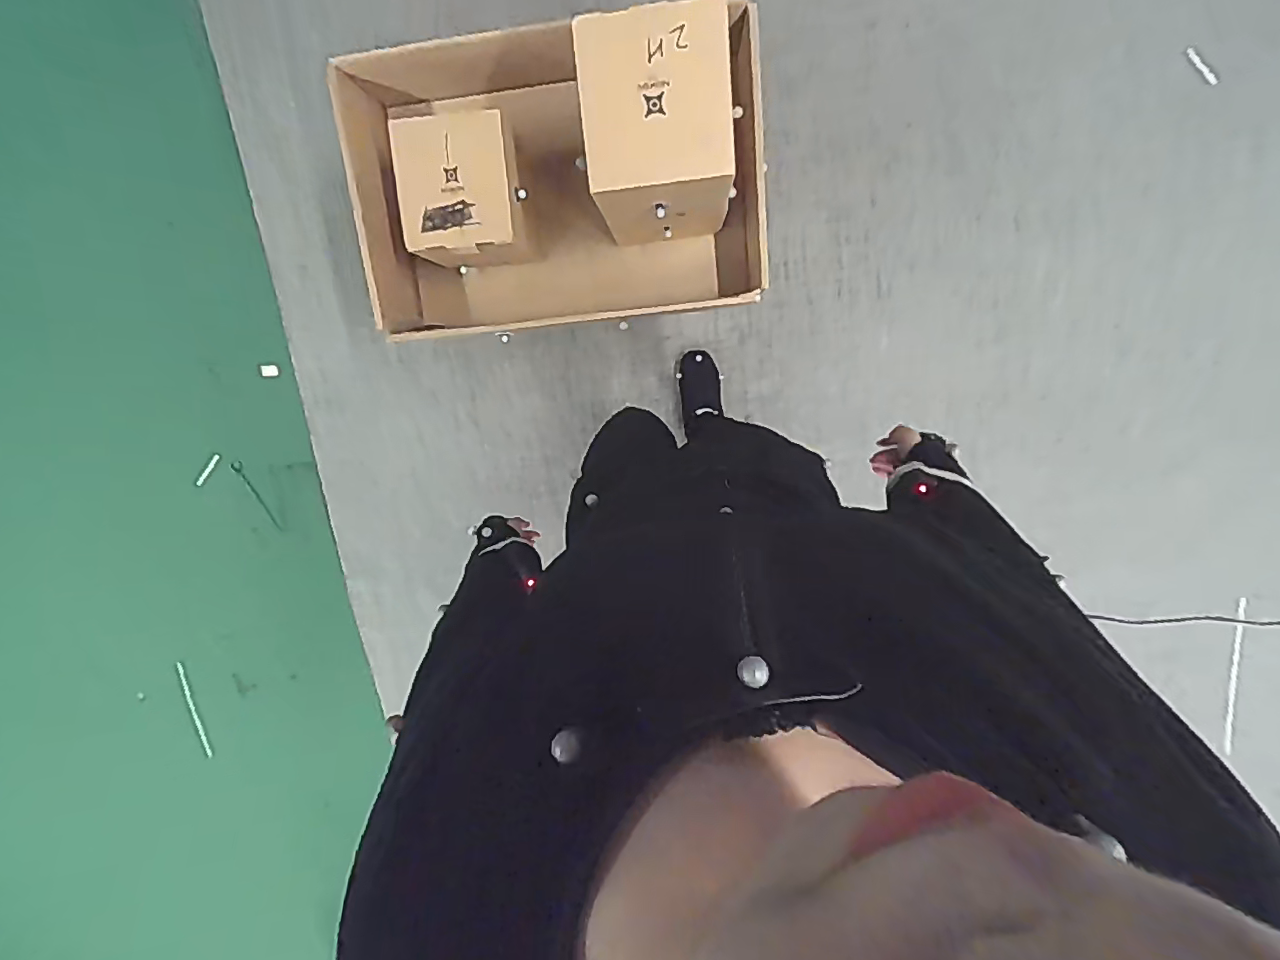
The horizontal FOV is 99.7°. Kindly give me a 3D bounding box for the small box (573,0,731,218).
[{"bbox_3d":[0.022,-0.433,0.661,0.168,0.176,0.179,-4,103,5],"label":"small box"}]
